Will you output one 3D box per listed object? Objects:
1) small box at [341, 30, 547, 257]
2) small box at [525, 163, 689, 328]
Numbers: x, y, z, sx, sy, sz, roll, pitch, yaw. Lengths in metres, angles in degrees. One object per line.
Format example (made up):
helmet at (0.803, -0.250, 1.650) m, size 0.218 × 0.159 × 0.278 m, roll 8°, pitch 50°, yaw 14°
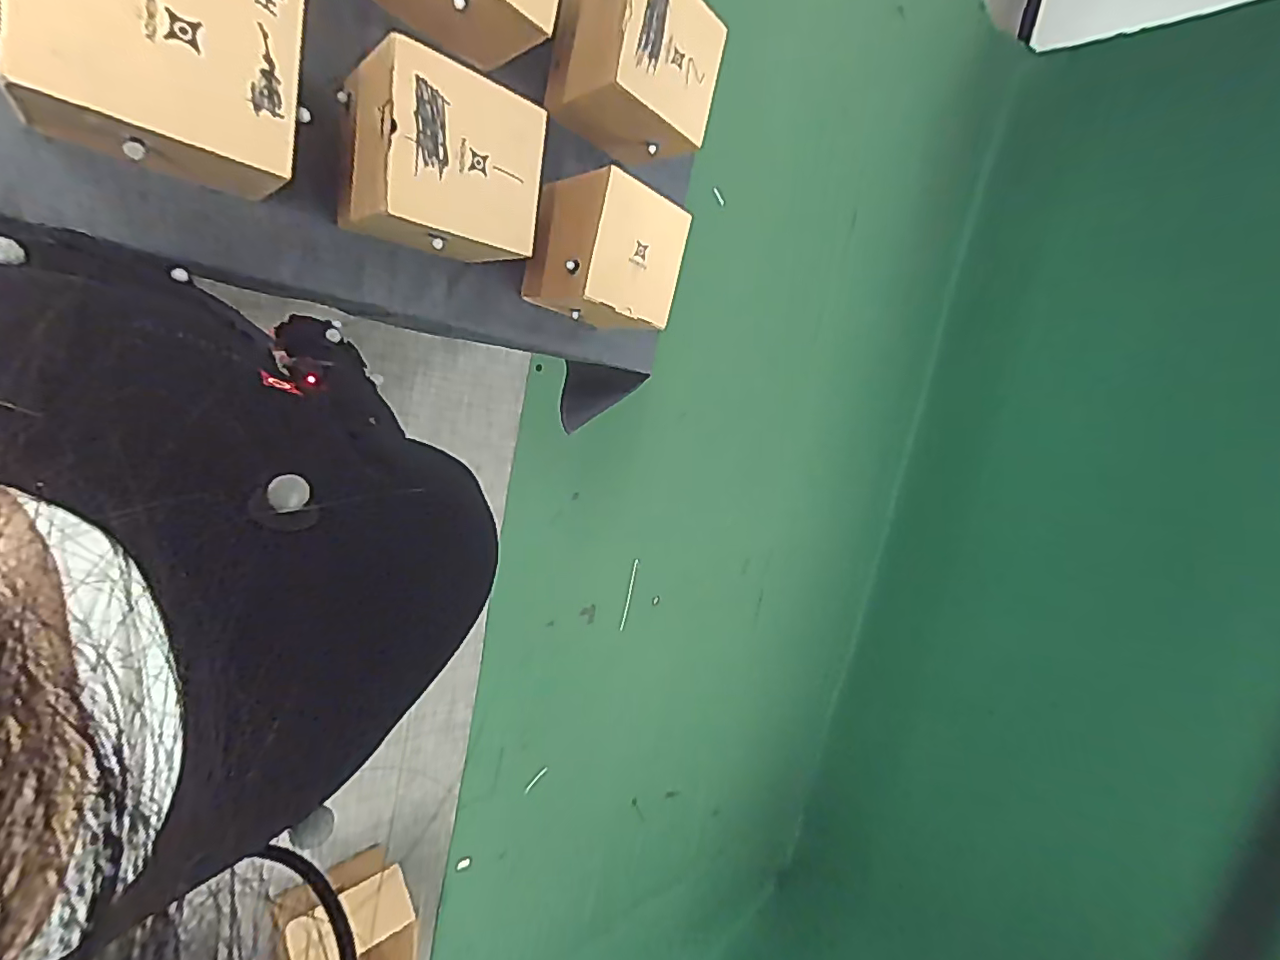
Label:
small box at (-0.236, -0.369, 0.639) m, size 0.179 × 0.176 × 0.168 m, roll -3°, pitch 106°, yaw -44°
small box at (-0.055, -0.345, 0.827) m, size 0.168 × 0.176 × 0.179 m, roll 6°, pitch 100°, yaw -45°
